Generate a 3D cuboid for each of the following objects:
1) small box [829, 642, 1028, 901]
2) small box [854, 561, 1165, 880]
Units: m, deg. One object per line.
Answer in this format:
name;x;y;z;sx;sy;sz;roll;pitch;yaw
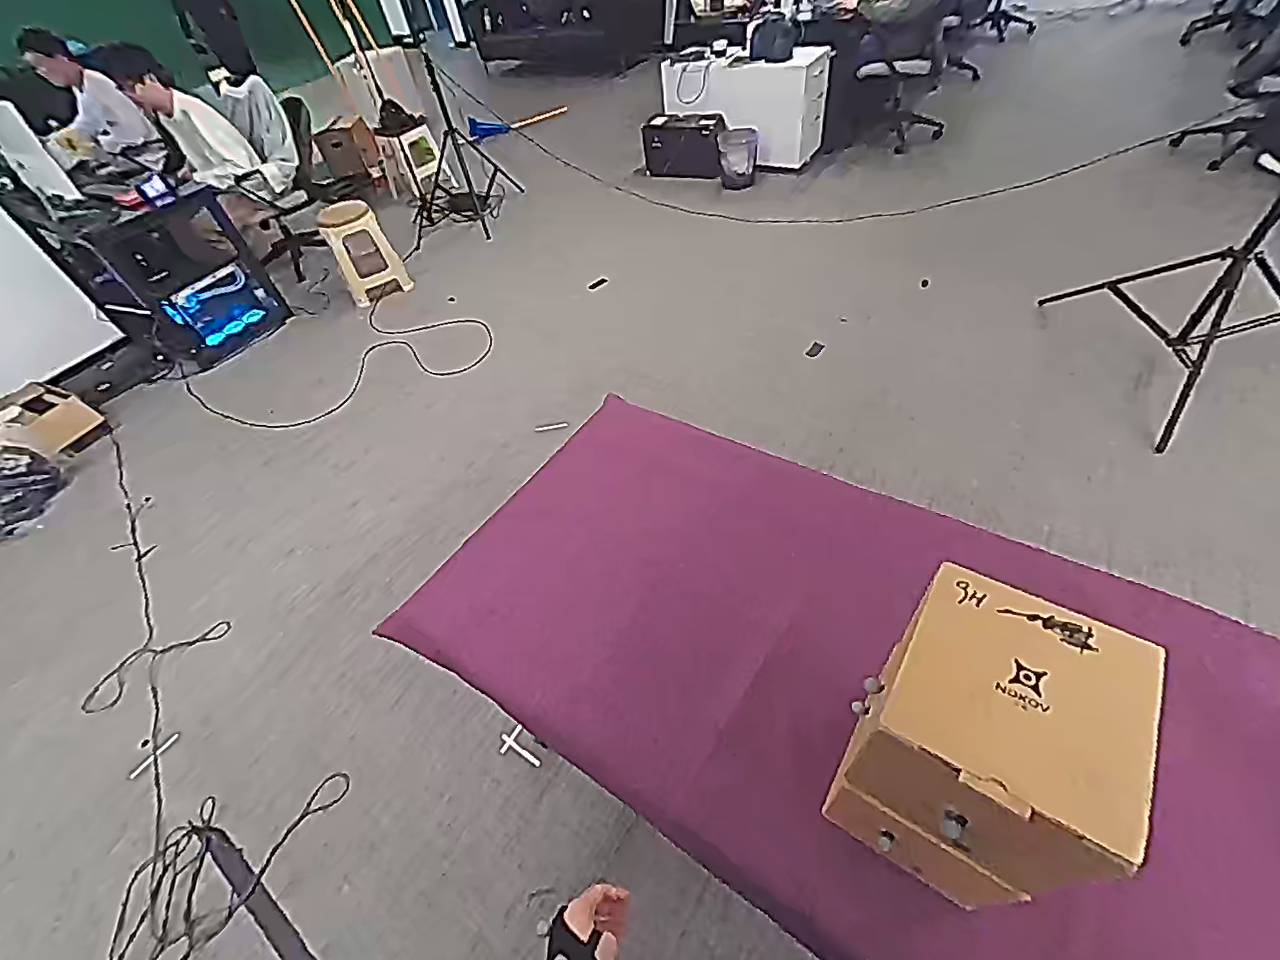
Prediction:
small box;0.323;0.323;0.598;0.168;0.176;0.179;24;56;27
small box;0.305;0.212;0.478;0.168;0.176;0.179;24;57;28
